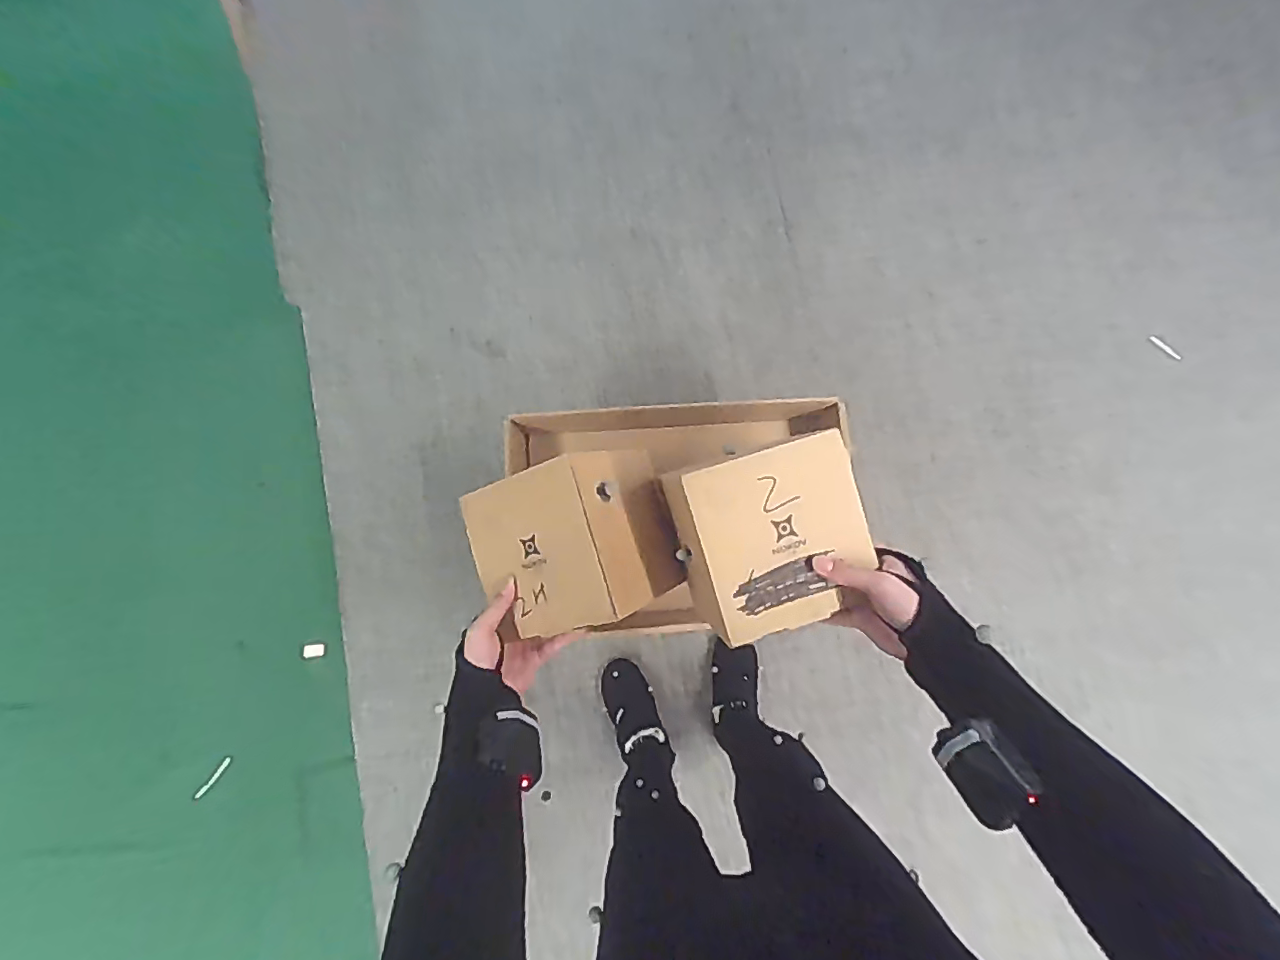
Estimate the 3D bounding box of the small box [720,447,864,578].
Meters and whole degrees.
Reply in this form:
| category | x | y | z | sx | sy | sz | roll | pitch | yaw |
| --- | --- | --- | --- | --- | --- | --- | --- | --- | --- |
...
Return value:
| category | x | y | z | sx | sy | sz | roll | pitch | yaw |
| --- | --- | --- | --- | --- | --- | --- | --- | --- | --- |
| small box | 0.221 | 0.052 | 0.828 | 0.168 | 0.176 | 0.179 | -4 | 83 | -2 |

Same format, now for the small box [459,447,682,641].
| category | x | y | z | sx | sy | sz | roll | pitch | yaw |
| --- | --- | --- | --- | --- | --- | --- | --- | --- | --- |
| small box | -0.074 | 0.067 | 0.629 | 0.168 | 0.176 | 0.179 | -19 | 85 | 30 |
